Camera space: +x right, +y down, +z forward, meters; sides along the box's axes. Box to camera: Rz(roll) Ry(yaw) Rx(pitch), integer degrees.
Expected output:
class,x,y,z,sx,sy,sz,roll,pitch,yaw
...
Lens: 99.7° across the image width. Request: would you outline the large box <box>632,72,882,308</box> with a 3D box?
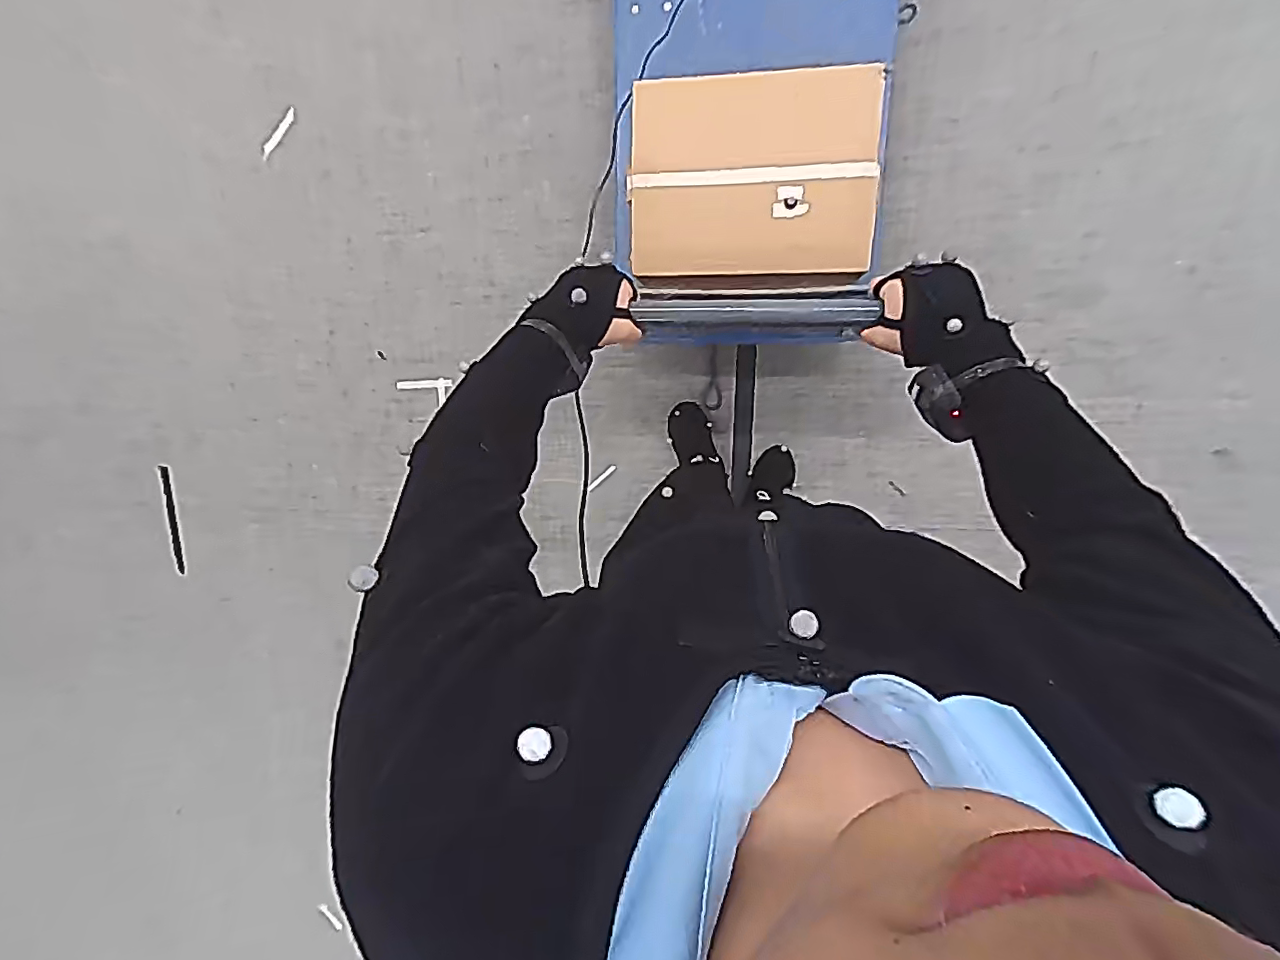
class,x,y,z,sx,sy,sz,roll,pitch,yaw
large box,0.204,-0.517,1.043,0.408,0.320,0.320,2,101,8
